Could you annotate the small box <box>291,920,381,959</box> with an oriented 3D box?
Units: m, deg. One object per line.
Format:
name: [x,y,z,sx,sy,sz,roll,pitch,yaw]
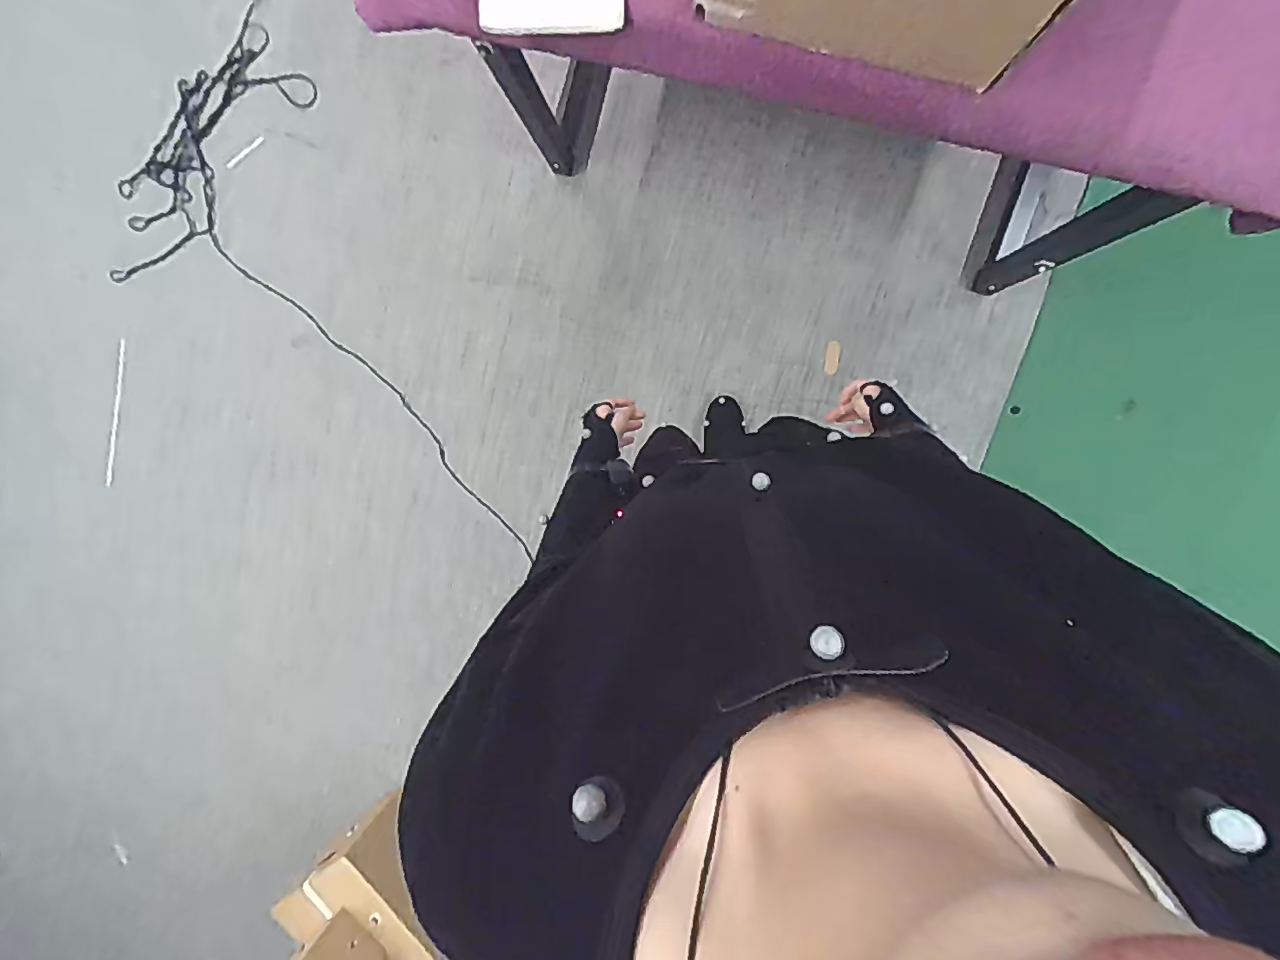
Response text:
small box: [-0.804,1.265,1.361,0.168,0.176,0.179,-44,89,11]

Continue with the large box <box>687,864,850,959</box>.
large box: [0.335,1.328,1.490,0.408,0.320,0.320,2,98,5]
